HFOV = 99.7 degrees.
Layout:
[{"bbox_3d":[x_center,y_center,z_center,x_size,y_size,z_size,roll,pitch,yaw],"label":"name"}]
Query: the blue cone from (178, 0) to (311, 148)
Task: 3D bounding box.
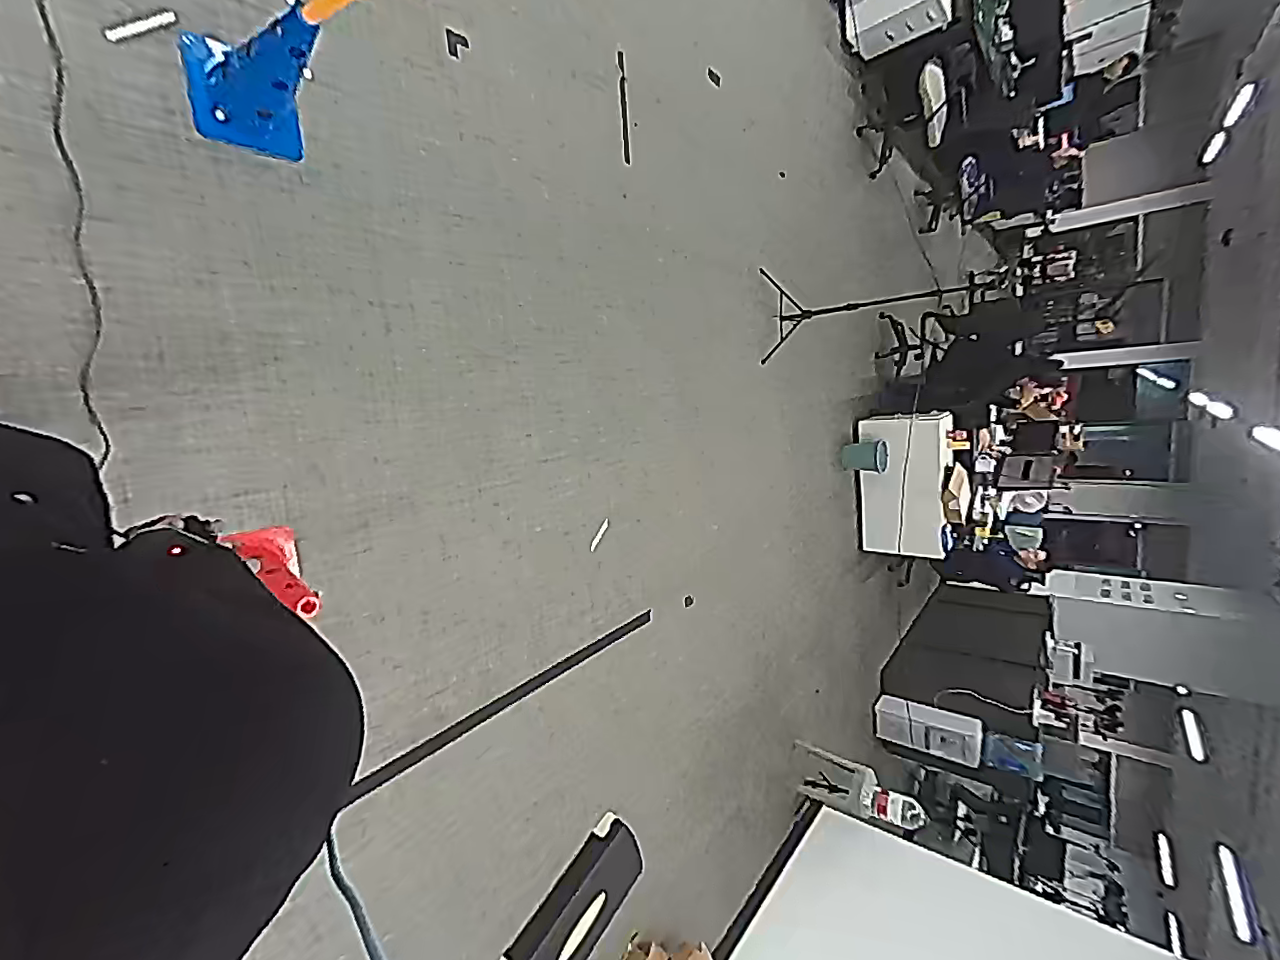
[{"bbox_3d":[-0.718,-0.815,1.037,0.193,0.380,0.192,-11,99,-50],"label":"blue cone"}]
